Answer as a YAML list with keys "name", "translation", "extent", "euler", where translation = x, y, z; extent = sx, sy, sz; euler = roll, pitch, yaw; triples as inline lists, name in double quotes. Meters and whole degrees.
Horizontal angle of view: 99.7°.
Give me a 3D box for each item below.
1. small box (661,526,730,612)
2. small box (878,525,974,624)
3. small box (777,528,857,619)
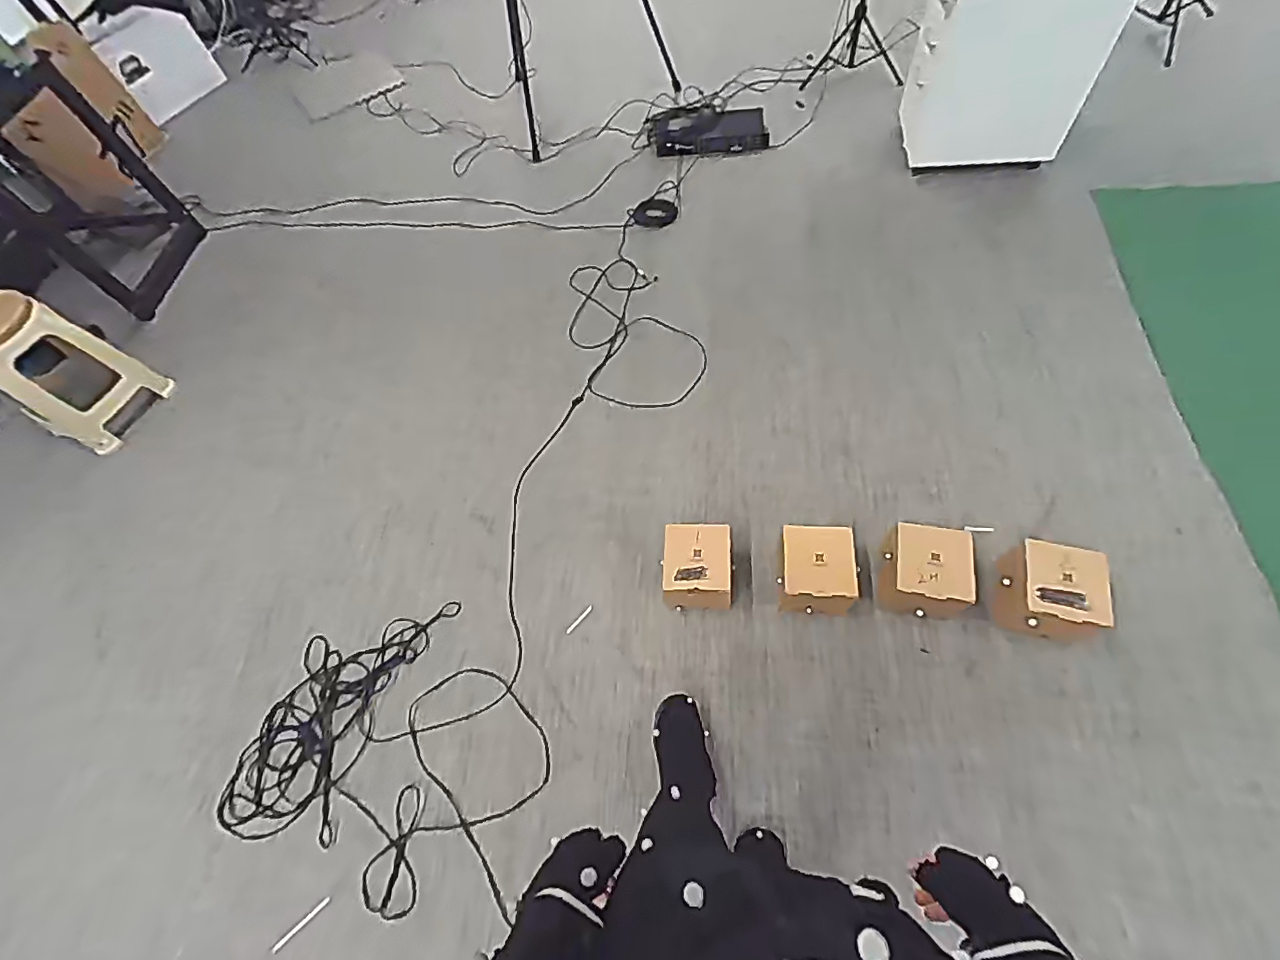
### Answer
- name: "small box"
  translation: [0.149, 0.234, 1.400]
  extent: [0.168, 0.176, 0.179]
  euler: [0, 60, 8]
- name: "small box"
  translation: [0.691, 0.234, 1.322]
  extent: [0.168, 0.176, 0.179]
  euler: [8, 63, 13]
- name: "small box"
  translation: [0.436, 0.237, 1.358]
  extent: [0.168, 0.176, 0.179]
  euler: [1, 61, 9]
